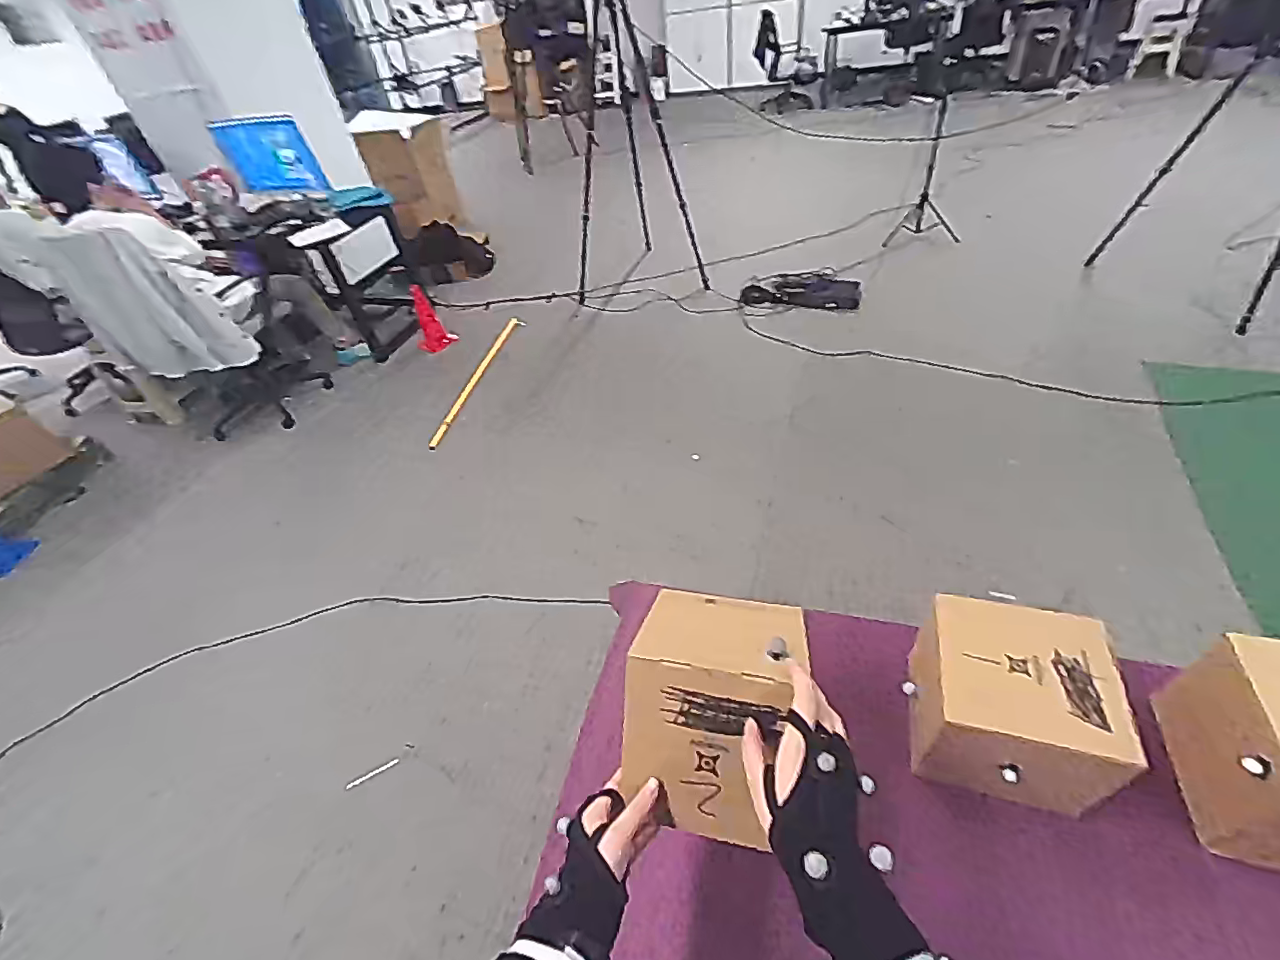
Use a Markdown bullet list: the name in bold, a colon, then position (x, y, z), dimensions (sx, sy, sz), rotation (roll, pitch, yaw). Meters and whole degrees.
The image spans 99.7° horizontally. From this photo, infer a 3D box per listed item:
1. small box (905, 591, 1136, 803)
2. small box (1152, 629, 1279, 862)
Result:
- **small box**: position (0.430, 0.261, 0.649), dimensions (0.179, 0.176, 0.168), rotation (6, 46, 19)
- **small box**: position (0.699, 0.288, 0.569), dimensions (0.168, 0.176, 0.179), rotation (6, 47, 17)
